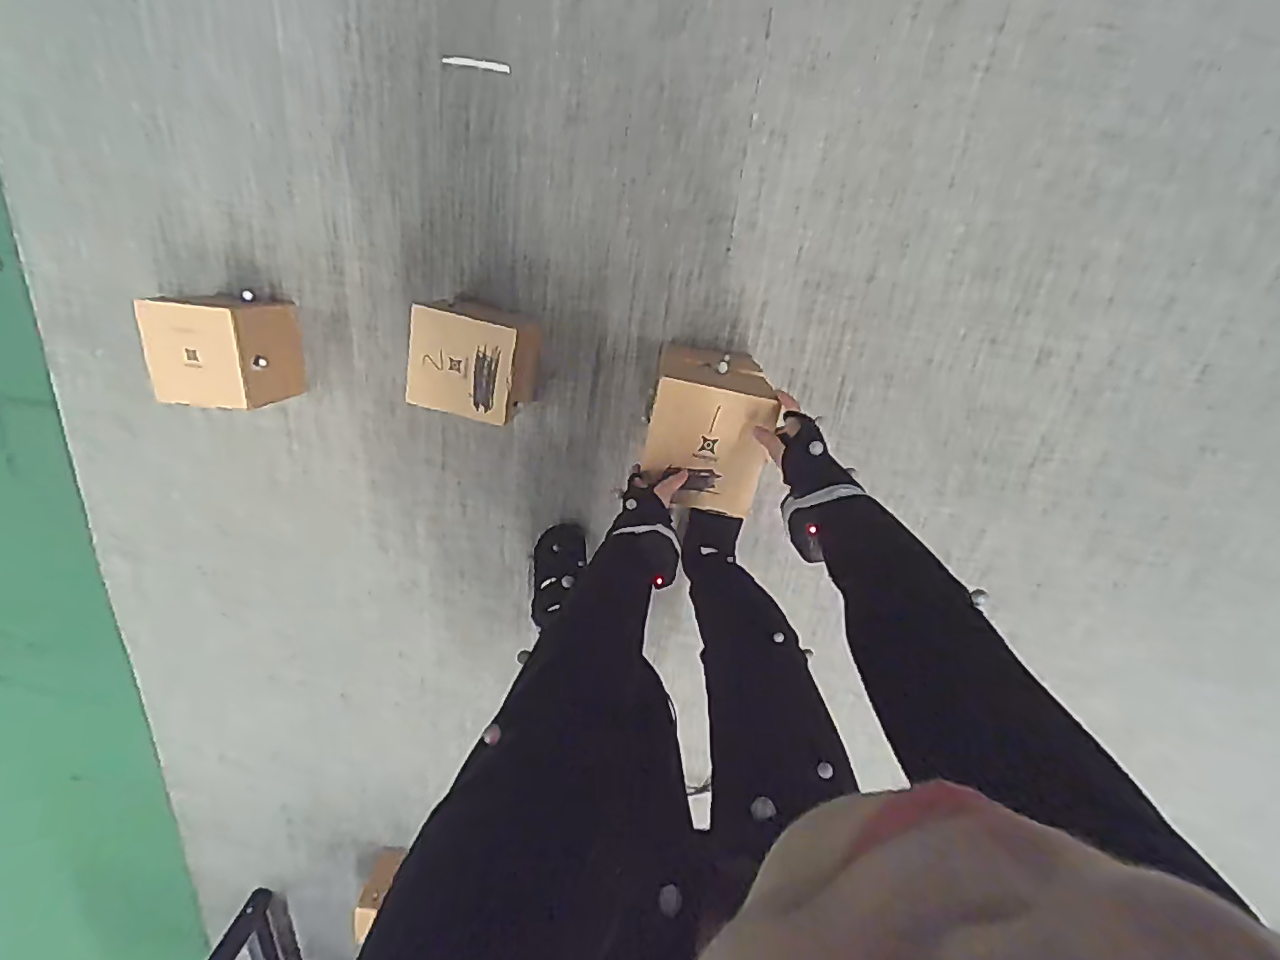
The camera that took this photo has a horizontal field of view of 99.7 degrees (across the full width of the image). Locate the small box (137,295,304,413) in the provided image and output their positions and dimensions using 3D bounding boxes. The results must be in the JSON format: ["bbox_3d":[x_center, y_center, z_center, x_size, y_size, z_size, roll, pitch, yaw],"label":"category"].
[{"bbox_3d":[-0.746,-0.236,0.987,0.168,0.176,0.179,7,111,1],"label":"small box"}]

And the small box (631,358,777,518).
[{"bbox_3d":[0.090,-0.070,0.809,0.168,0.176,0.179,12,111,-1],"label":"small box"}]

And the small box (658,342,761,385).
[{"bbox_3d":[0.104,-0.134,0.960,0.168,0.176,0.179,11,112,0],"label":"small box"}]
